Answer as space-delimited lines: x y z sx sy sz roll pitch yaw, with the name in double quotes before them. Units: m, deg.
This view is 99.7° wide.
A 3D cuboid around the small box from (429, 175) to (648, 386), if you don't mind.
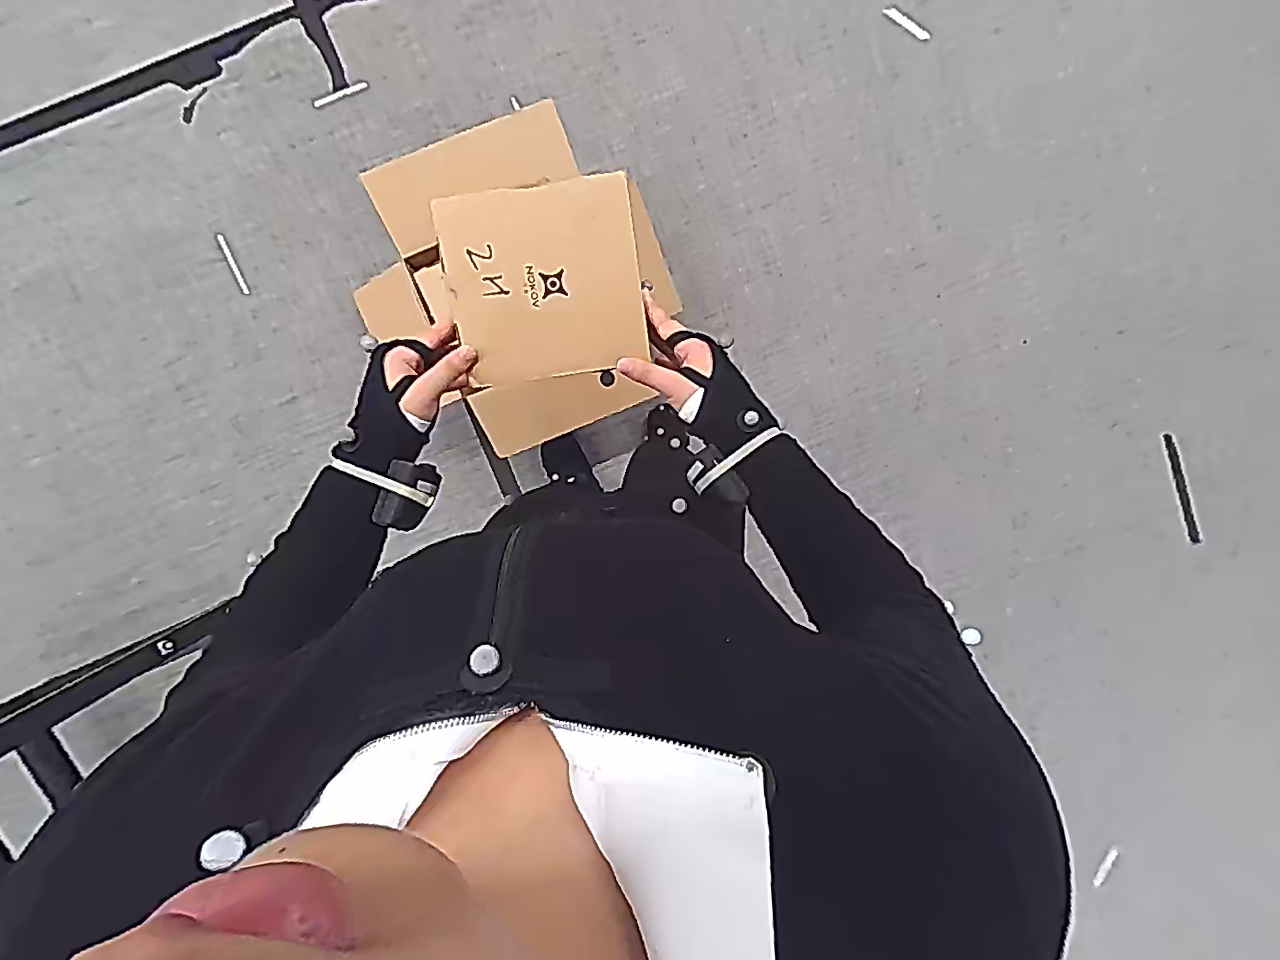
"small box" -0.092 -0.198 0.569 0.179 0.176 0.168 -9 104 1
